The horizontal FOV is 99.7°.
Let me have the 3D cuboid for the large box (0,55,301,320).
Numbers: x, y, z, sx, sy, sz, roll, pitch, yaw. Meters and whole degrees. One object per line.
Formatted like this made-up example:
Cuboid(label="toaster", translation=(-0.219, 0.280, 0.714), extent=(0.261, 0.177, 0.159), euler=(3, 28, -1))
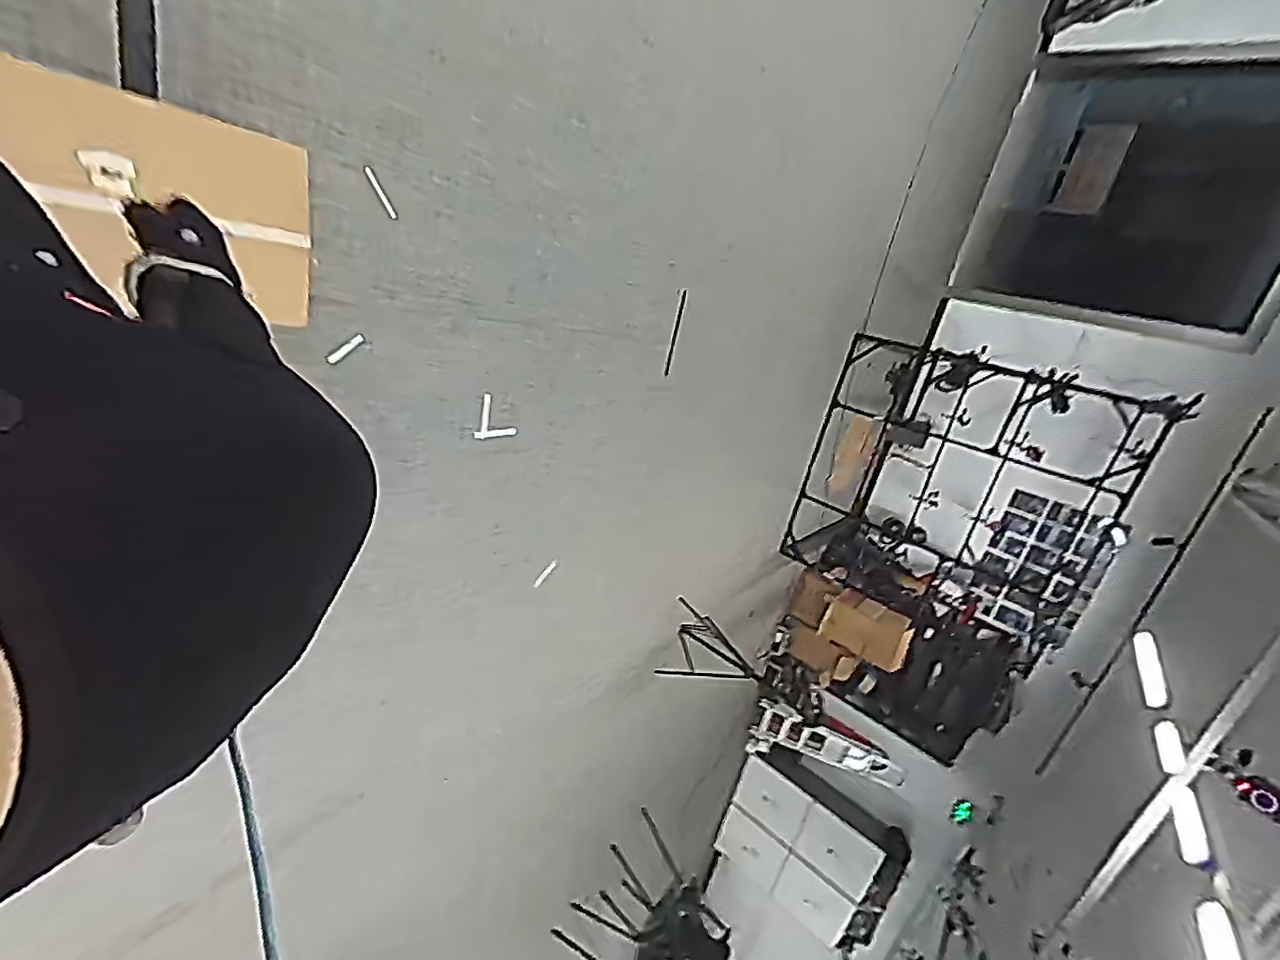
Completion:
Cuboid(label="large box", translation=(-0.868, -0.480, 0.936), extent=(0.408, 0.320, 0.320), euler=(-12, 121, -50))
